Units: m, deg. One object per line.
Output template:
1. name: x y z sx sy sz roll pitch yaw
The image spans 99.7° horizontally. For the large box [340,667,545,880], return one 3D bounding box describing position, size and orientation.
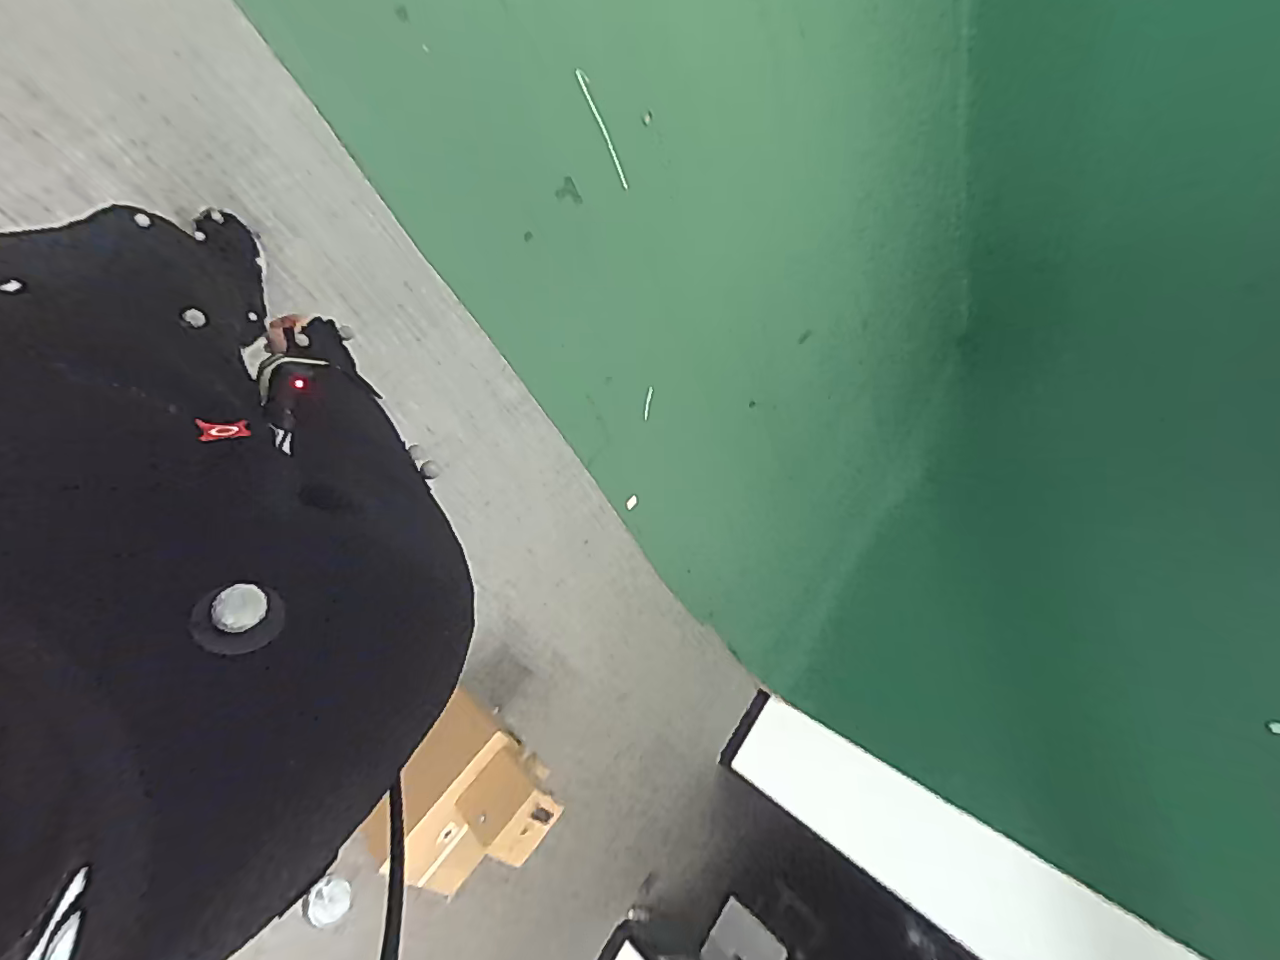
1. large box: -0.567 0.841 1.581 0.408 0.320 0.320 -46 133 -21
